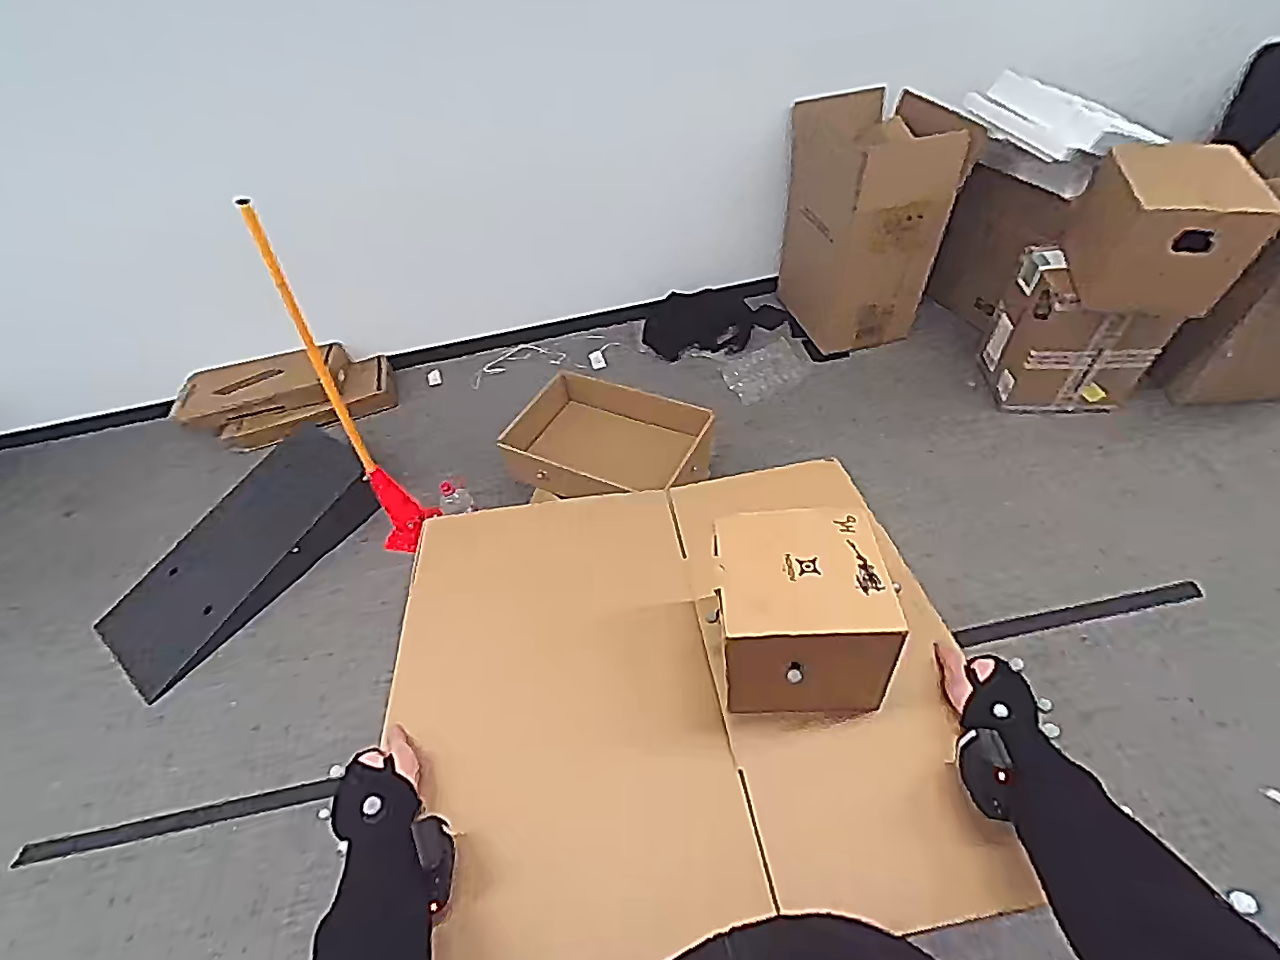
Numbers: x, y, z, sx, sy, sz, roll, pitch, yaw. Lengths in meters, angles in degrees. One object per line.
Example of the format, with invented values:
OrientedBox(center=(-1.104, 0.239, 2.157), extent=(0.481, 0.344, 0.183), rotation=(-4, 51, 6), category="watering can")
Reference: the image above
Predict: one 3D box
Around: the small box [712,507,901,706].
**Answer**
OrientedBox(center=(0.183, 0.153, 0.640), extent=(0.179, 0.176, 0.168), rotation=(-5, 43, 8), category="small box")
